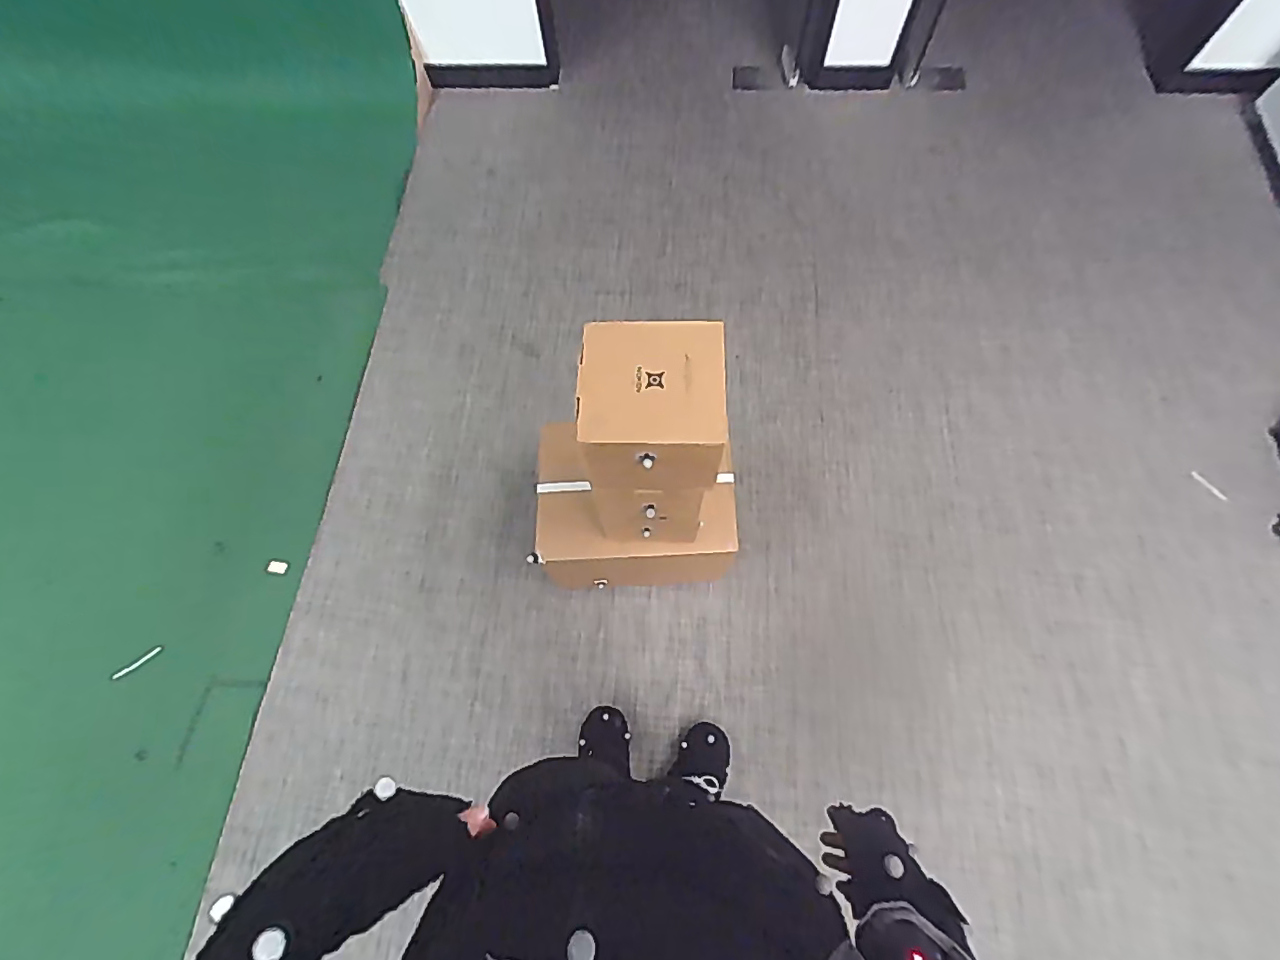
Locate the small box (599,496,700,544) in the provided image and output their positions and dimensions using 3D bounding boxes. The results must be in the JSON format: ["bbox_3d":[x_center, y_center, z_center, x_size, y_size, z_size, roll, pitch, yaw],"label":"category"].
[{"bbox_3d":[0.022,0.022,1.036,0.179,0.176,0.168,1,69,4],"label":"small box"}]

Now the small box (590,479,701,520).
[{"bbox_3d":[0.013,-0.035,0.884,0.168,0.176,0.179,-1,70,2],"label":"small box"}]

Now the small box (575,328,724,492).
[{"bbox_3d":[0.016,-0.086,0.729,0.179,0.176,0.168,0,70,2],"label":"small box"}]
